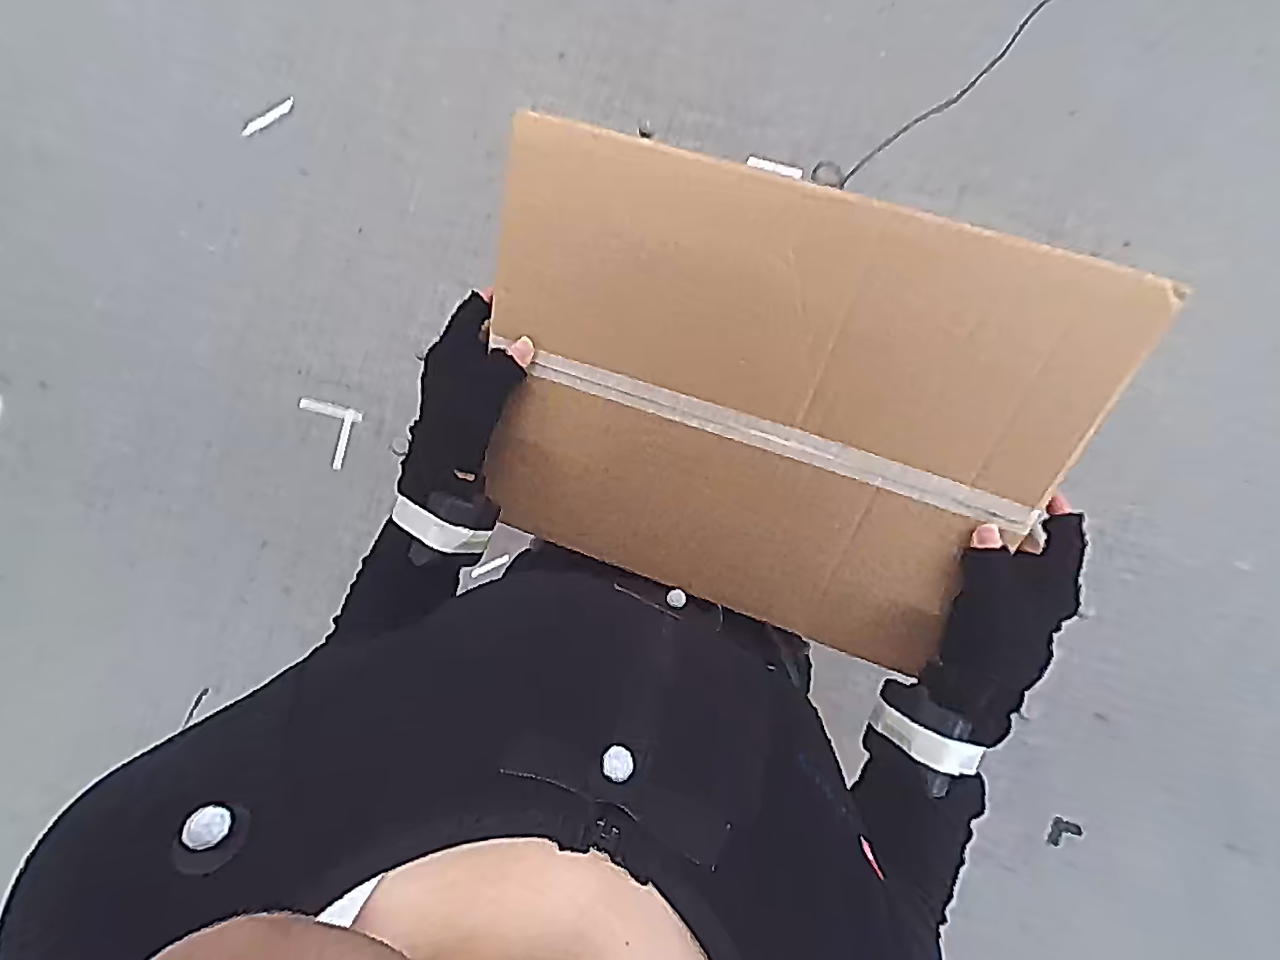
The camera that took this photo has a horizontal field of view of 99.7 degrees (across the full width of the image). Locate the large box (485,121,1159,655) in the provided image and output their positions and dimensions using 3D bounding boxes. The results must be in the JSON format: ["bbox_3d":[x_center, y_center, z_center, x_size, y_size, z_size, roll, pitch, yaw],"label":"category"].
[{"bbox_3d":[0.114,-0.107,0.532,0.408,0.320,0.320,20,119,7],"label":"large box"}]
